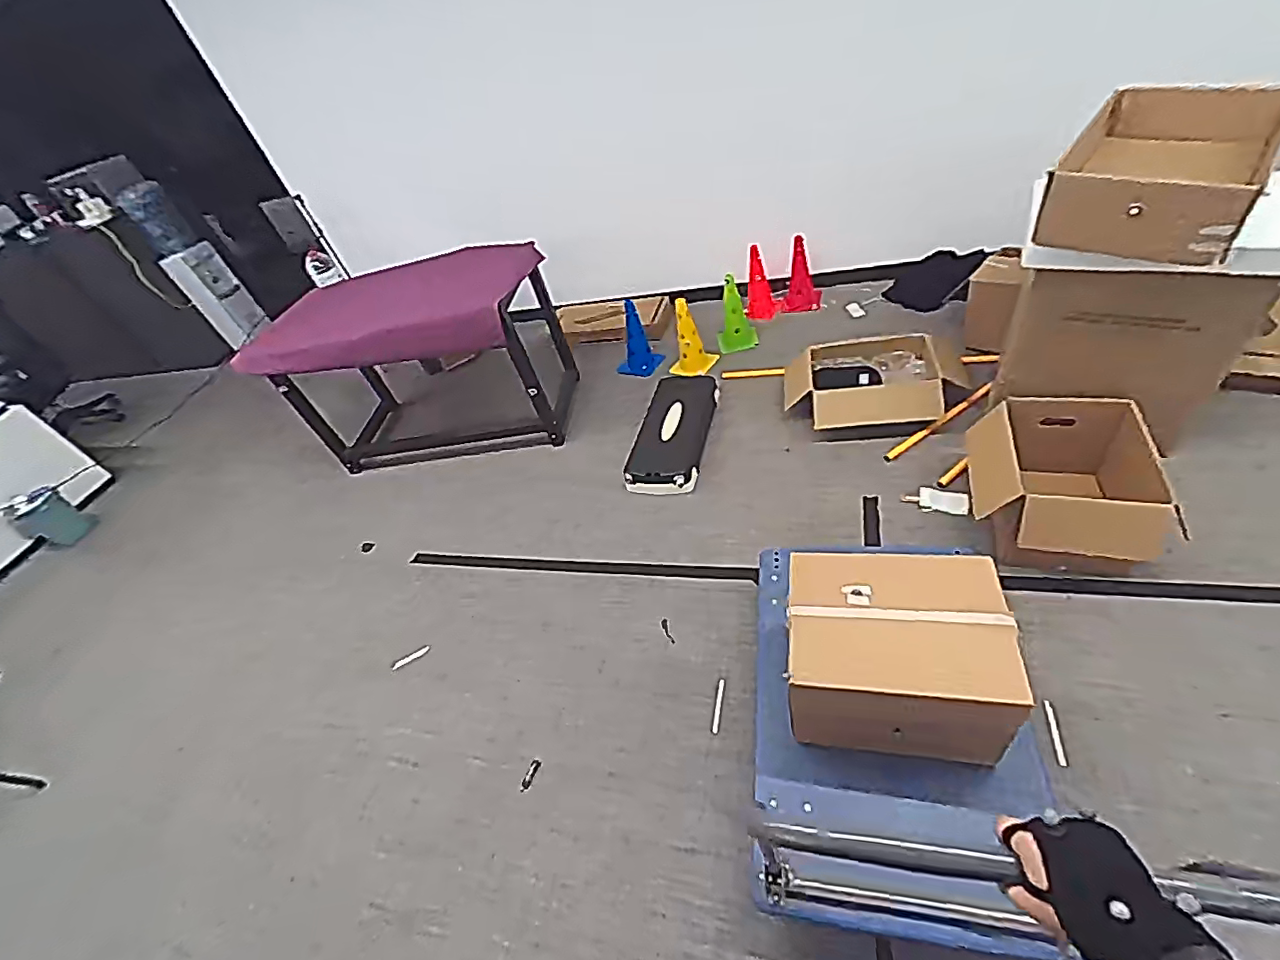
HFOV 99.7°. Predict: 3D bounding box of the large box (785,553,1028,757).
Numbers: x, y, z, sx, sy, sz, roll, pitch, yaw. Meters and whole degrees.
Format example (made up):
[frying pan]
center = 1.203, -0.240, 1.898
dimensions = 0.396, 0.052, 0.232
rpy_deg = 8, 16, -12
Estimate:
[large box]
center = 0.532, 0.371, 1.166
dimensions = 0.408, 0.320, 0.320
rpy_deg = -2, 44, 18
